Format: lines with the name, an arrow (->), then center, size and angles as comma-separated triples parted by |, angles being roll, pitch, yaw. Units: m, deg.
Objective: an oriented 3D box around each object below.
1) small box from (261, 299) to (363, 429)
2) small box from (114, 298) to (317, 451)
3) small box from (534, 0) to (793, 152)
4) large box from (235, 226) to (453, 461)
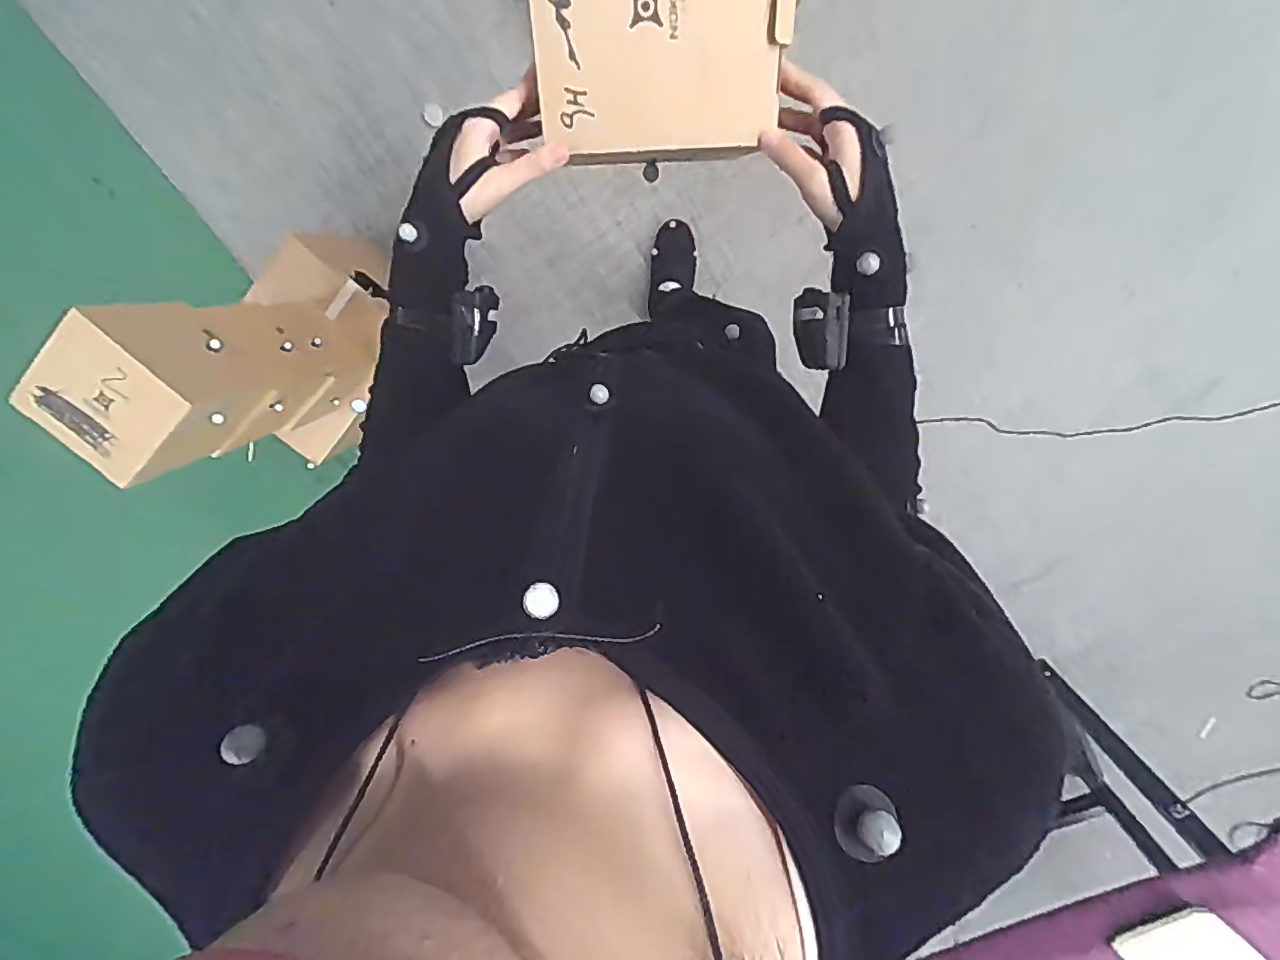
small box -> -0.687, -0.235, 1.057 | 0.168, 0.176, 0.179 | -39, 106, 14
small box -> -0.691, -0.182, 0.904 | 0.179, 0.176, 0.168 | -38, 107, 14
small box -> 0.010, -0.361, 0.423 | 0.179, 0.176, 0.168 | -3, 118, -4
large box -> -0.723, -0.328, 1.285 | 0.320, 0.320, 0.408 | 42, 108, -13
